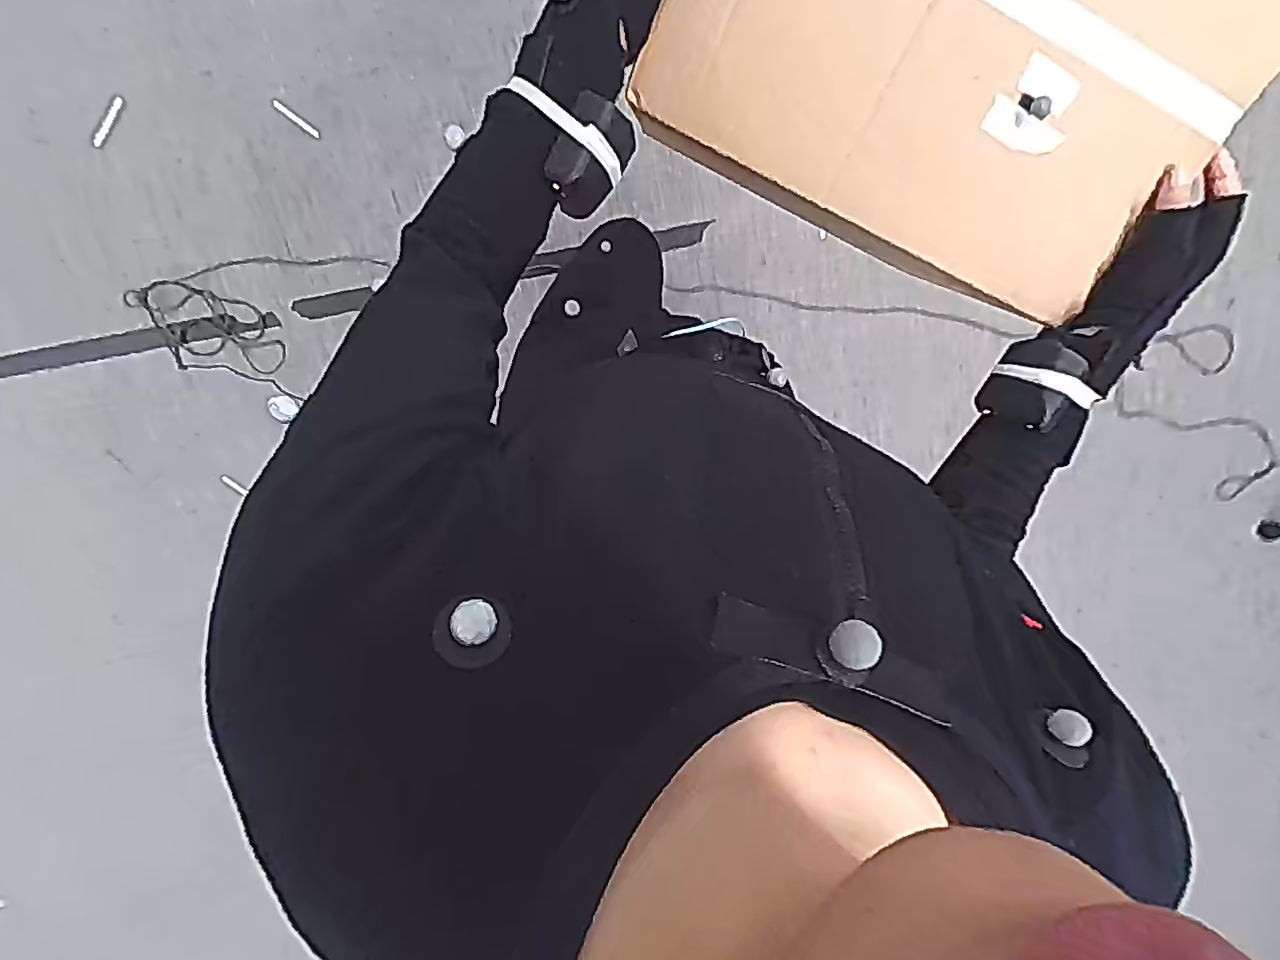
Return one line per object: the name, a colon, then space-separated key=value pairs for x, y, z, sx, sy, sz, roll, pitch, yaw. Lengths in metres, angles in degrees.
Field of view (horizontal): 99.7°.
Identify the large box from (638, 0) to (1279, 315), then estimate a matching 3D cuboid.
large box: x=0.239 y=-0.404 z=0.497 sx=0.408 sy=0.320 sz=0.320 roll=22 pitch=119 yaw=-10
